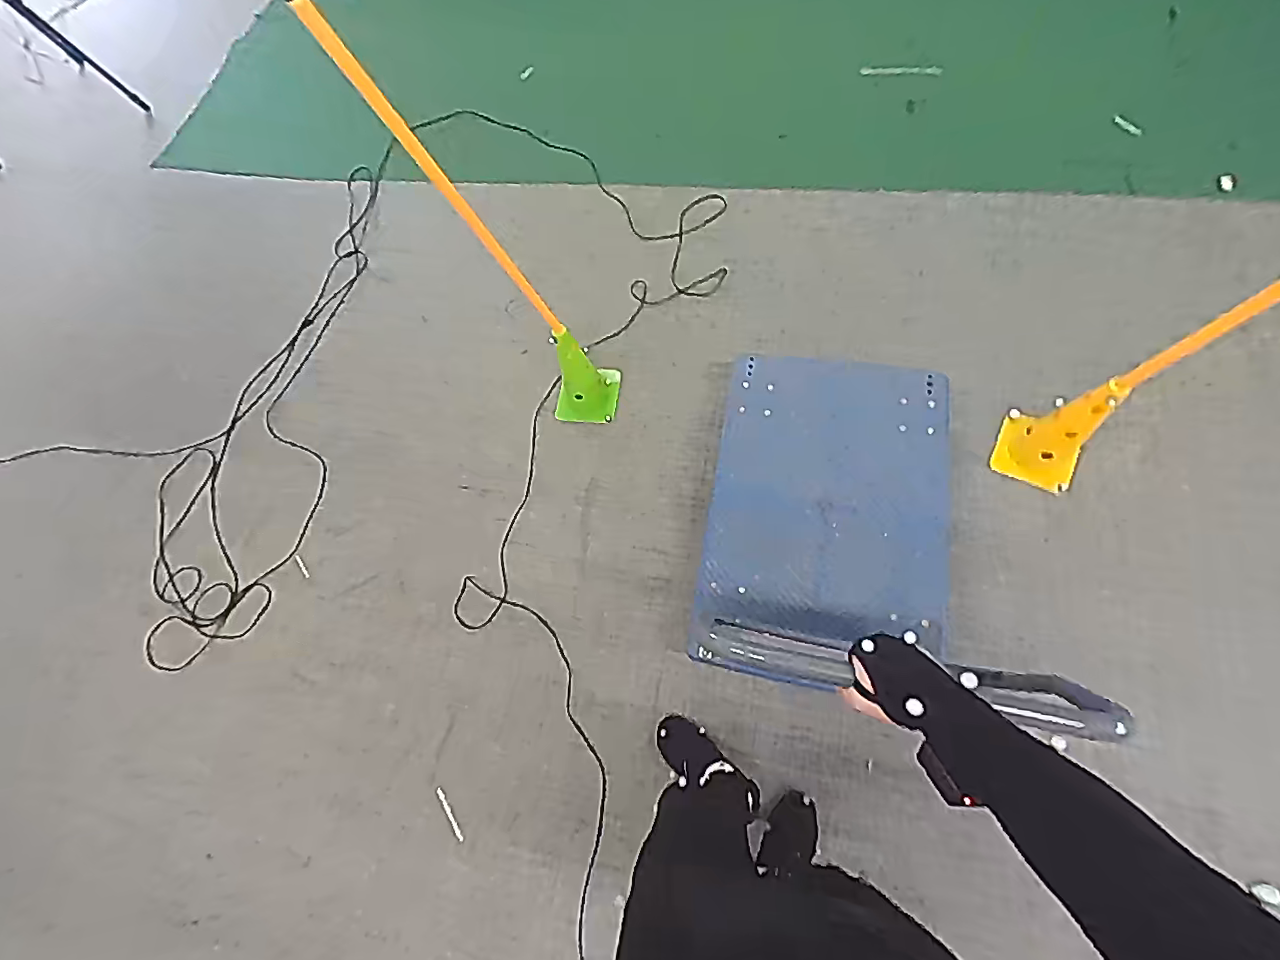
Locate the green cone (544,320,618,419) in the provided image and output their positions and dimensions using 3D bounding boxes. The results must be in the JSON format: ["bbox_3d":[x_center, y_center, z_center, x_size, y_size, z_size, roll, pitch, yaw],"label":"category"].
[{"bbox_3d":[-0.206,-0.355,1.626,0.202,0.368,0.200,3,69,12],"label":"green cone"}]
